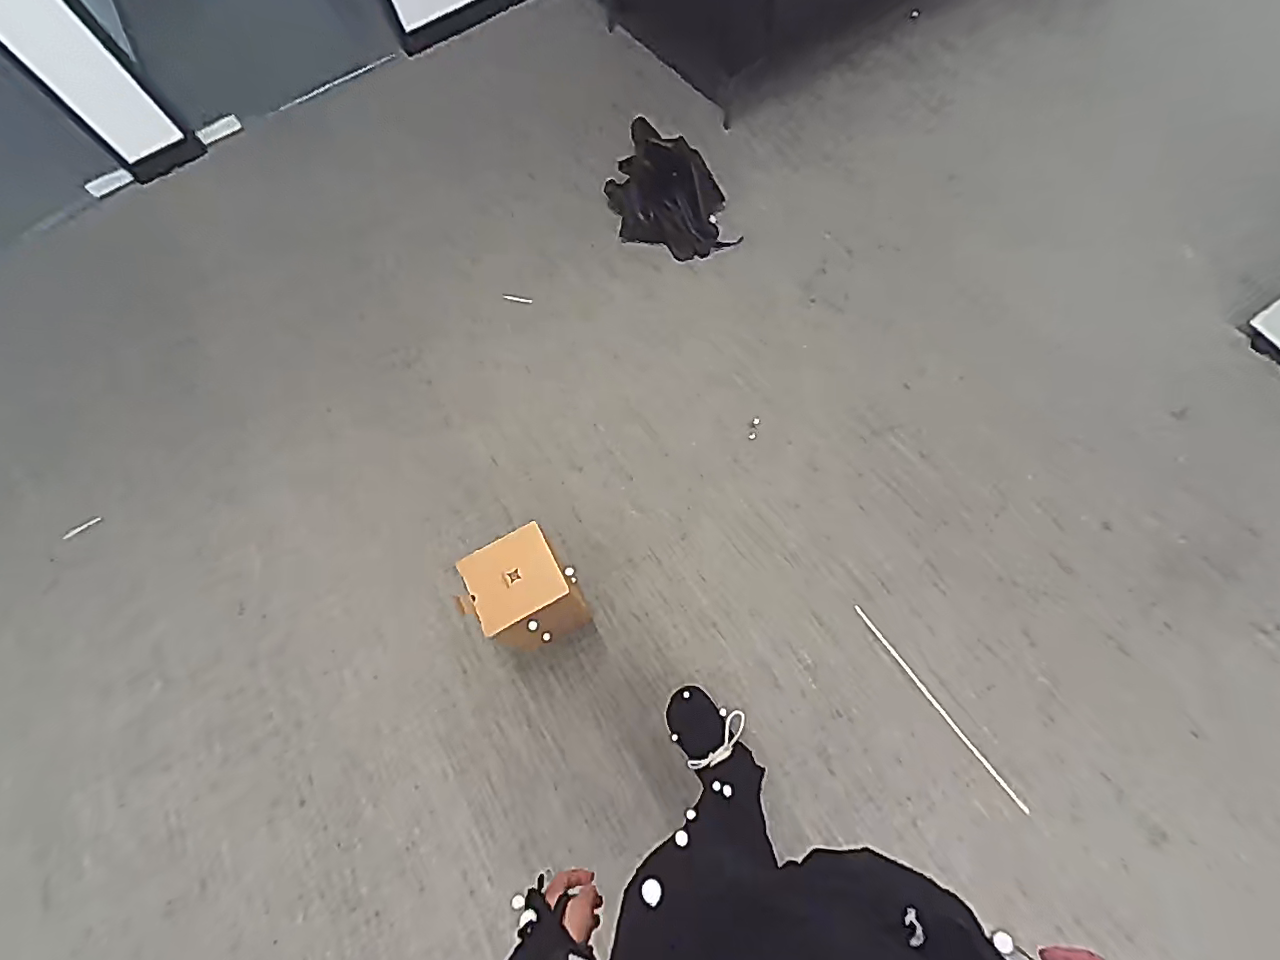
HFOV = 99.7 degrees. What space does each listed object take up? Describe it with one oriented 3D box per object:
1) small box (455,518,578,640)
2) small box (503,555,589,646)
[{"bbox_3d":[-0.237,0.205,1.091,0.179,0.176,0.168,-29,68,-6],"label":"small box"},{"bbox_3d":[-0.239,0.266,1.244,0.179,0.176,0.168,-29,67,-6],"label":"small box"}]
